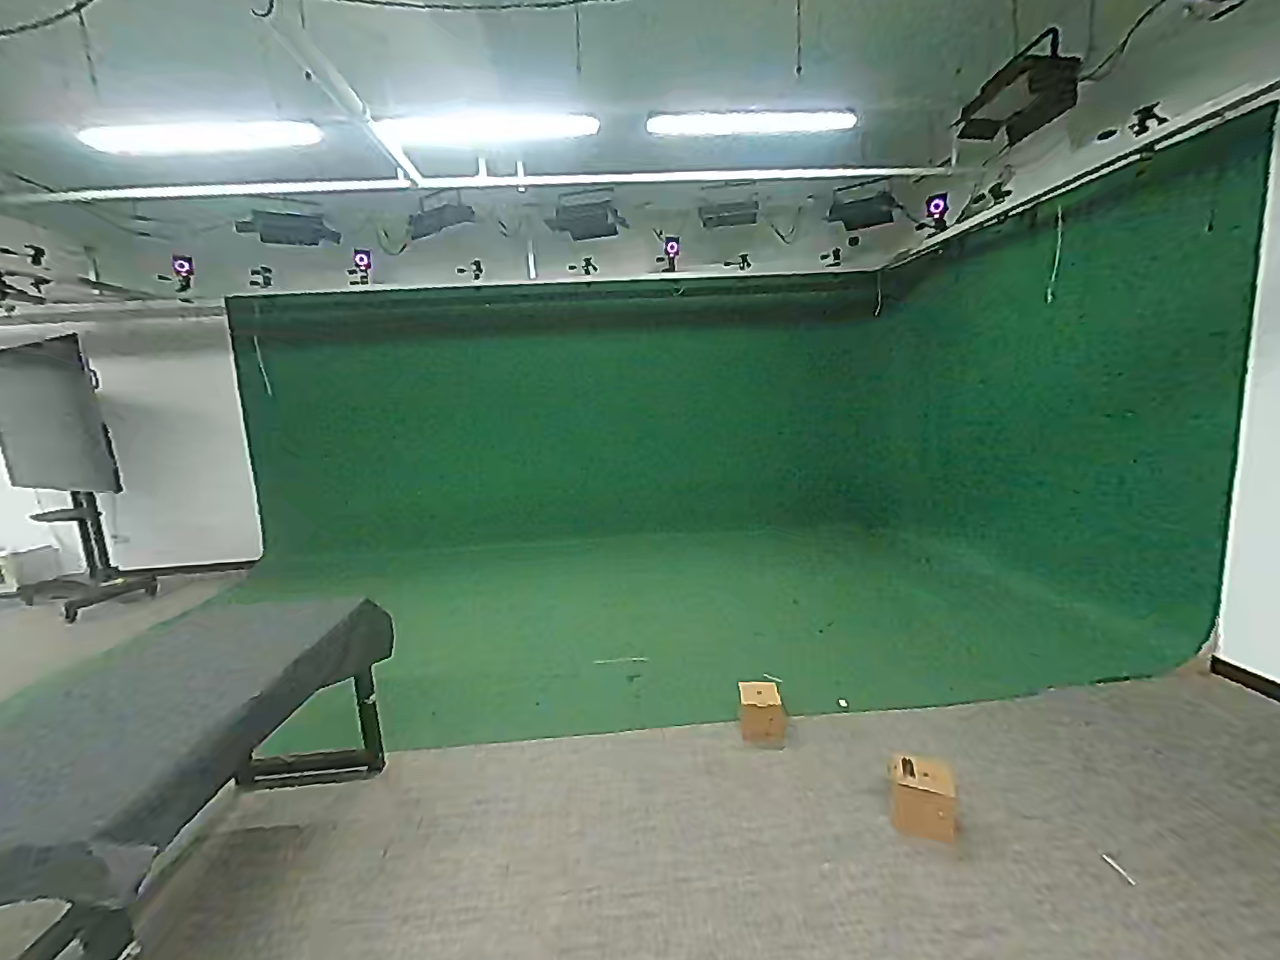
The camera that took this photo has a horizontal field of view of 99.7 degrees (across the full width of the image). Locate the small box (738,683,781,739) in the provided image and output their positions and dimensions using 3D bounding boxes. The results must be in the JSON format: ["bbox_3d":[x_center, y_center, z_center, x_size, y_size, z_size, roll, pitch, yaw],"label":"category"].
[{"bbox_3d":[0.520,1.011,2.363,0.168,0.176,0.179,-1,9,4],"label":"small box"}]
